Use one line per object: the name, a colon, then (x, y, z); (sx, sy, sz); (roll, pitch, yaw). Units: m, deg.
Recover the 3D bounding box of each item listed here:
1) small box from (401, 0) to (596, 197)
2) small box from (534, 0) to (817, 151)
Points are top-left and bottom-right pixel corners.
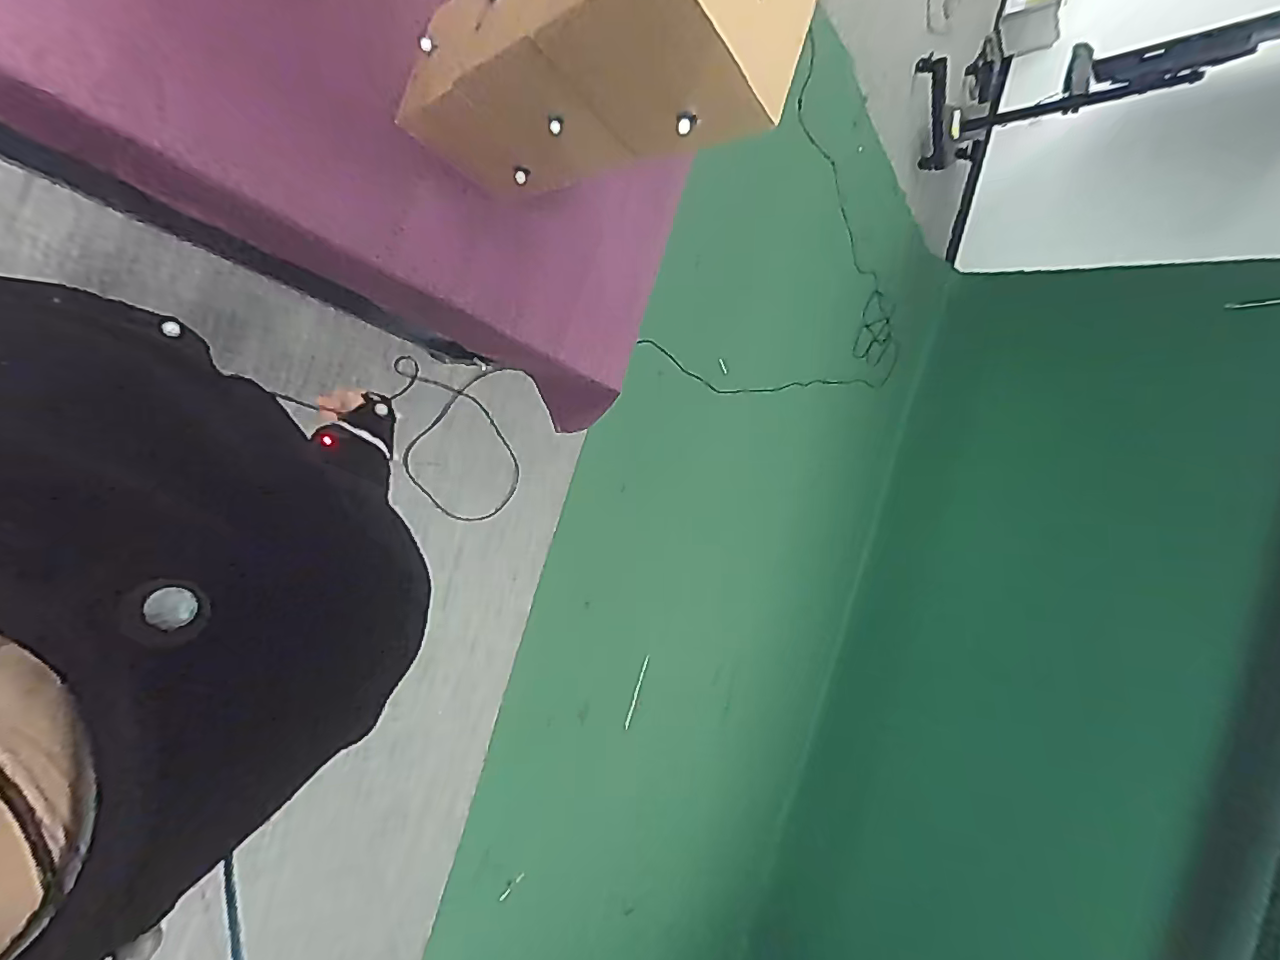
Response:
small box: (-0.183, -0.509, 0.726); (0.179, 0.176, 0.168); (21, 85, -48)
small box: (0.037, -0.436, 0.494); (0.179, 0.176, 0.168); (21, 85, -47)
